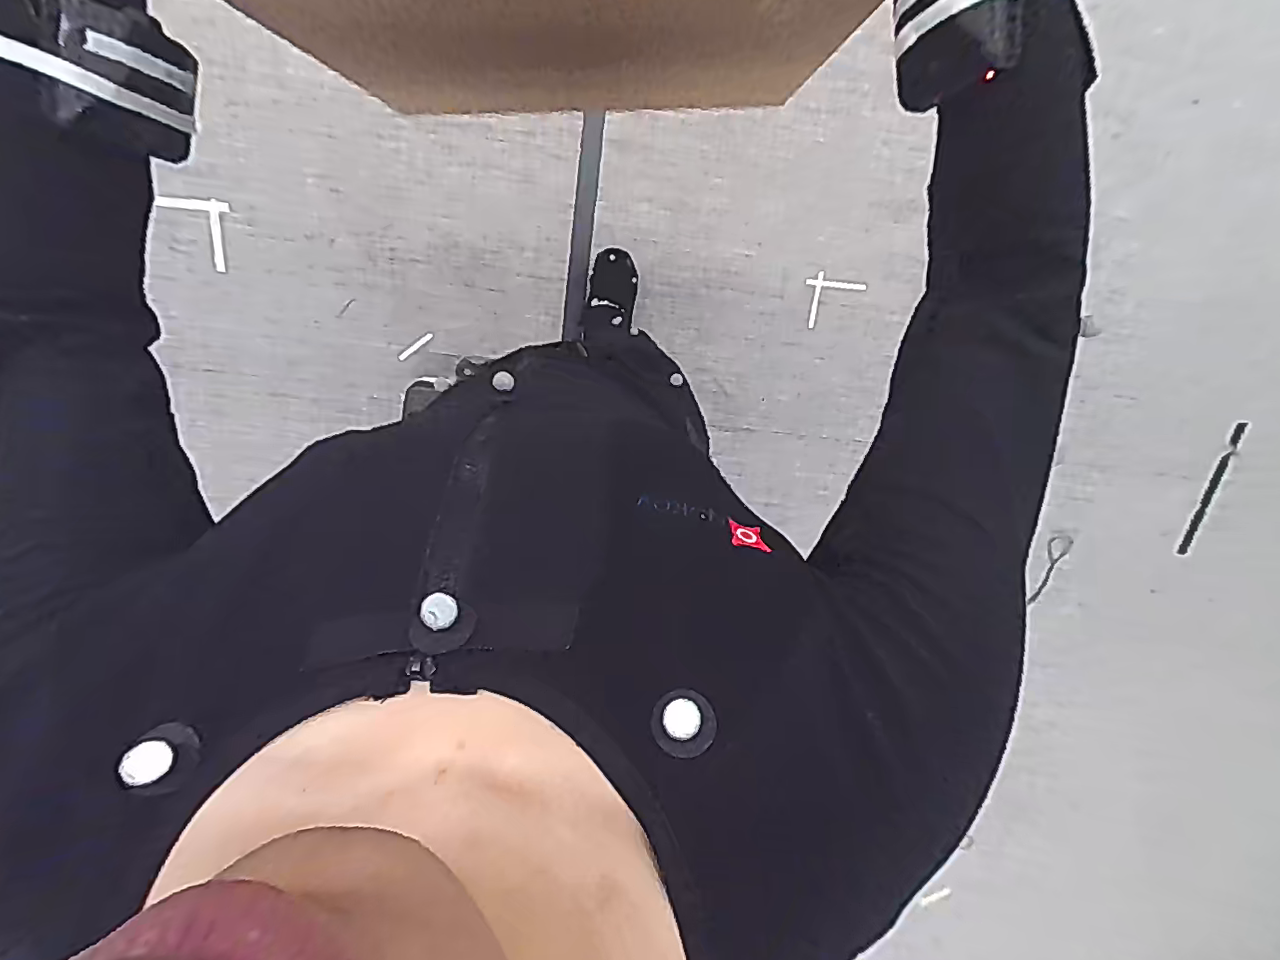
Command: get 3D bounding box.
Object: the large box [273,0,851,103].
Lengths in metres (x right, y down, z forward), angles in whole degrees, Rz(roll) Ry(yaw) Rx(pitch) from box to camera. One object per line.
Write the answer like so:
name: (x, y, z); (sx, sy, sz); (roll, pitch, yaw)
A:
large box: (-0.051, -0.486, 0.368); (0.408, 0.320, 0.320); (-2, 113, 0)
